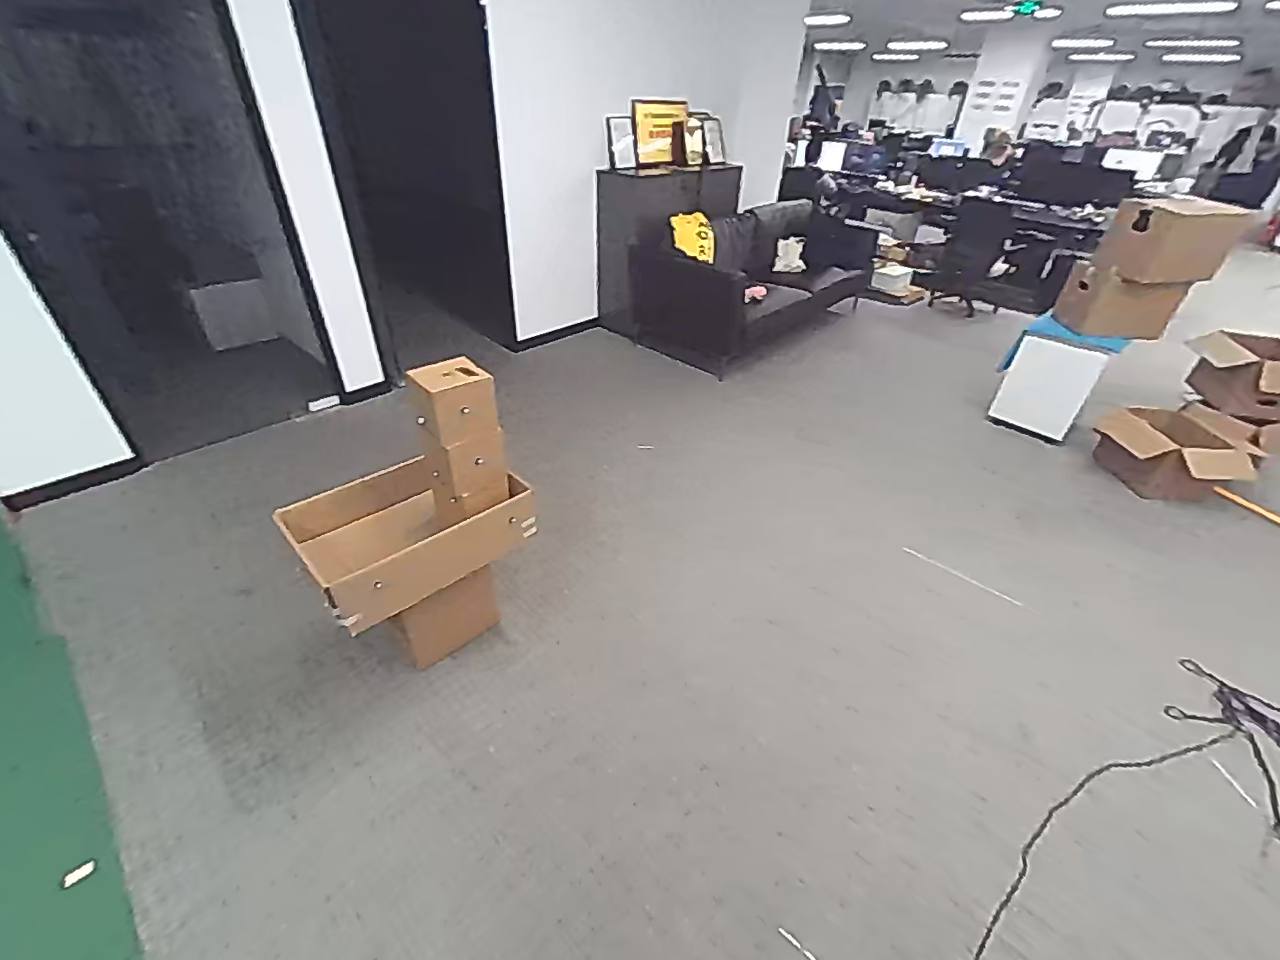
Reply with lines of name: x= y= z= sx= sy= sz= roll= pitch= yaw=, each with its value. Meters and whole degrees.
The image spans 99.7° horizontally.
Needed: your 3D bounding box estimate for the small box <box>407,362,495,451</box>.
small box: x=-0.521 y=-0.207 z=1.514 sx=0.179 sy=0.176 sz=0.168 roll=-26 pitch=45 yaw=-34
